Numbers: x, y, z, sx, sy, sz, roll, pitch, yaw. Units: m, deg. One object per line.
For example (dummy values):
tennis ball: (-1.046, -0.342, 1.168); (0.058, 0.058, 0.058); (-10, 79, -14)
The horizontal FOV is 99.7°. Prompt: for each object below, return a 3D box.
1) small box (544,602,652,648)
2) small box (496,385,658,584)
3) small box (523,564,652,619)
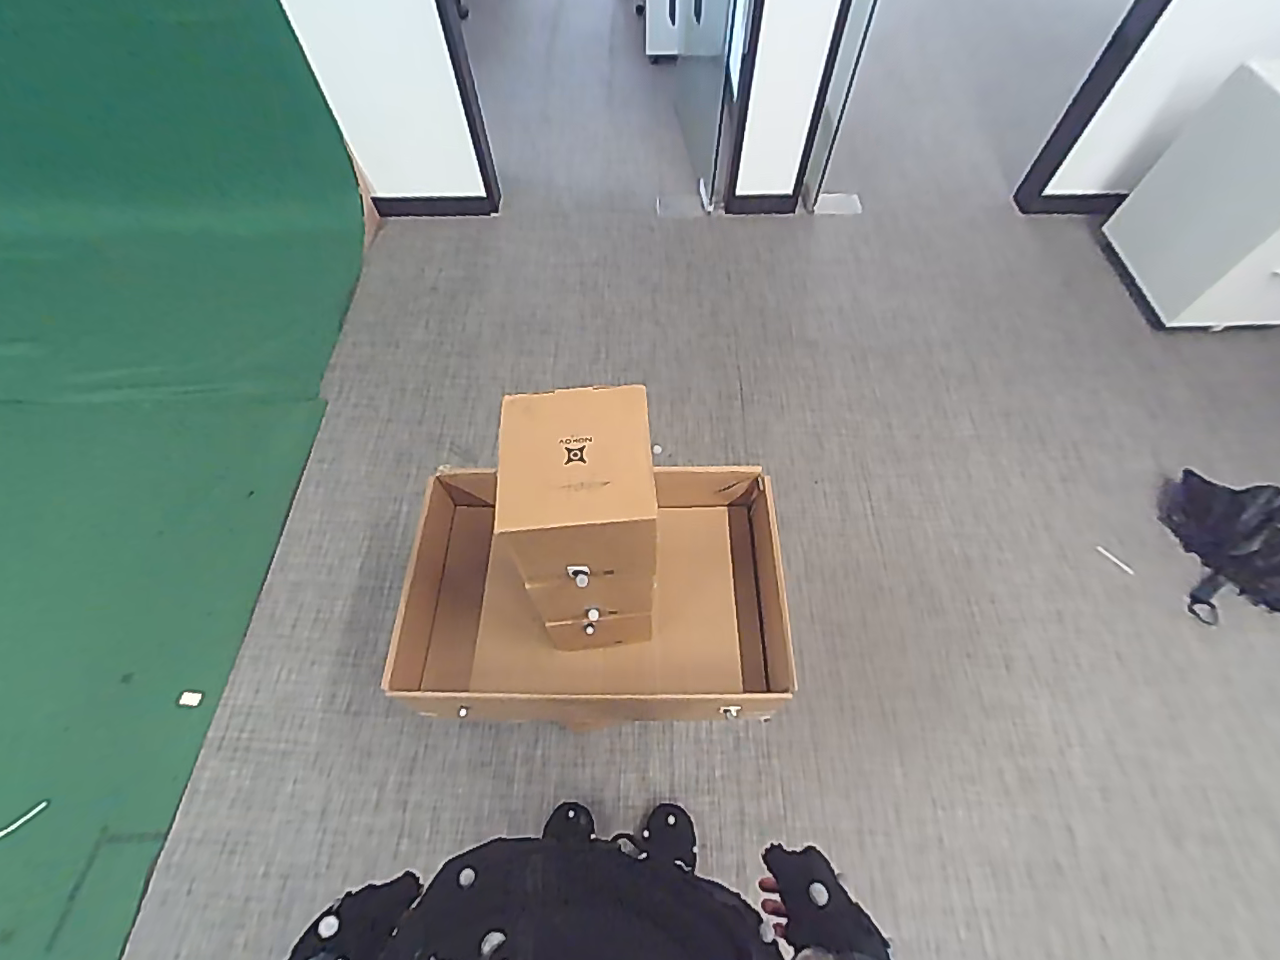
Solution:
small box: (-0.071, 0.175, 0.934); (0.168, 0.176, 0.179); (-7, 59, -2)
small box: (-0.068, 0.011, 0.653); (0.168, 0.176, 0.179); (-6, 61, 0)
small box: (-0.072, 0.091, 0.793); (0.168, 0.176, 0.179); (-5, 61, -2)
